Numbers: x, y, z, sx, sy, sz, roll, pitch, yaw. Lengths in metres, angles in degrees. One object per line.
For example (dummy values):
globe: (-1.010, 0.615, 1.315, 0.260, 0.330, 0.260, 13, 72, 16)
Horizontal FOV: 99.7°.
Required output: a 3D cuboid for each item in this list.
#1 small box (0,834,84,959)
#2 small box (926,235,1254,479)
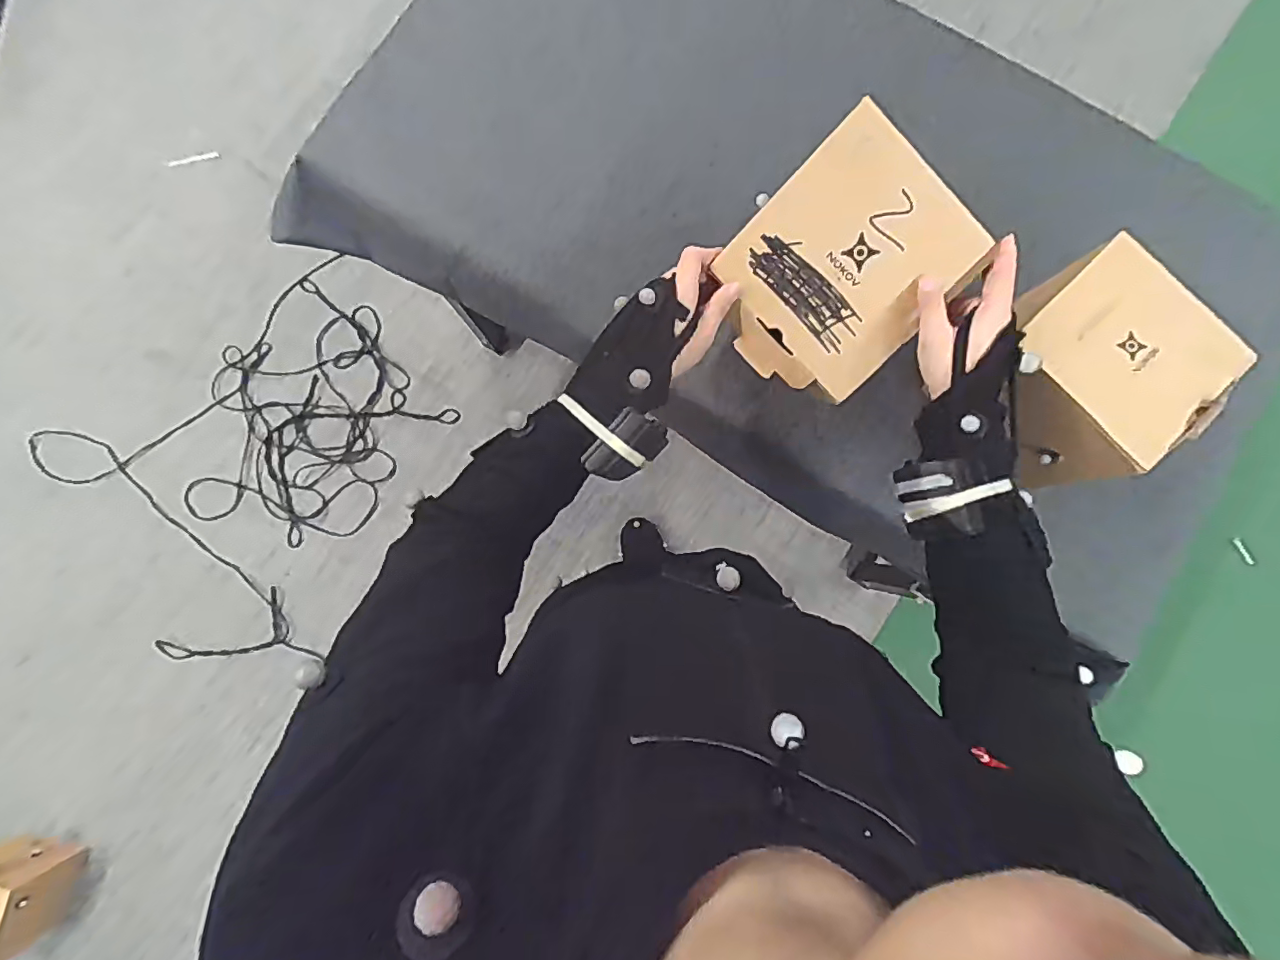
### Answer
small box: (-1.419, 0.940, 1.208, 0.168, 0.176, 0.179, 13, 83, 1)
small box: (0.467, -0.115, 0.592, 0.168, 0.176, 0.179, -43, 85, -6)
